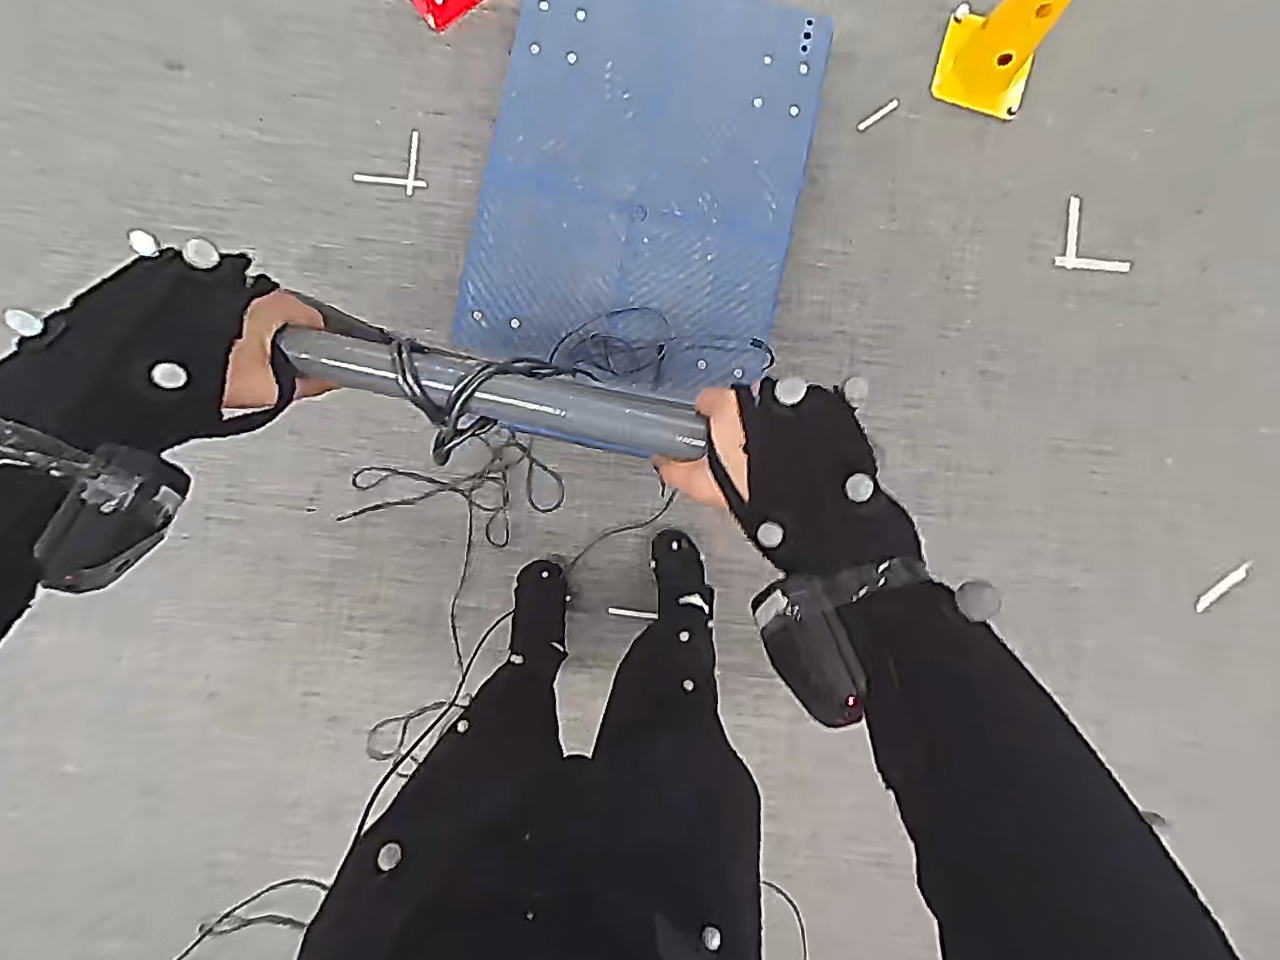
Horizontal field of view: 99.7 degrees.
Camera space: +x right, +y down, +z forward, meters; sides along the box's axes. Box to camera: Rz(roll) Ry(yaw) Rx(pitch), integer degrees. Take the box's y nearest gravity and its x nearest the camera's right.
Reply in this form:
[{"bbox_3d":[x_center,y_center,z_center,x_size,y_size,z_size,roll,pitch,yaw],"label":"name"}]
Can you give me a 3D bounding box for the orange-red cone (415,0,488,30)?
[{"bbox_3d":[-0.399,-1.083,0.980,0.199,0.360,0.198,-38,92,-3],"label":"orange-red cone"}]
